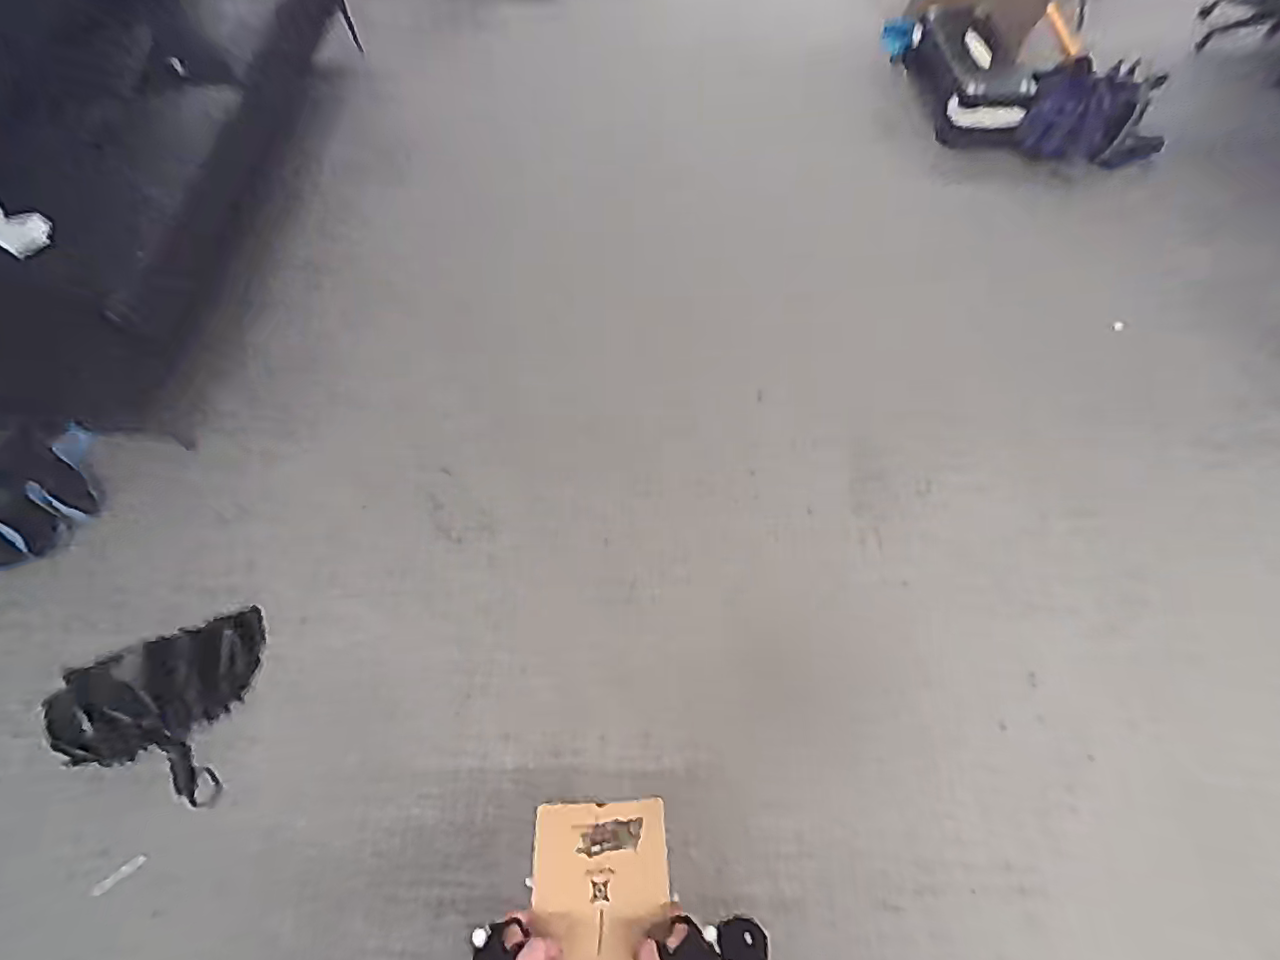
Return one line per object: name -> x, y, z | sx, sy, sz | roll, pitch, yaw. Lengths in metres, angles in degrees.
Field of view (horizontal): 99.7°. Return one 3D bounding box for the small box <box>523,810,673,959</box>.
small box -> -0.050, 0.541, 0.682 | 0.168, 0.176, 0.179 | -3, 46, -2
